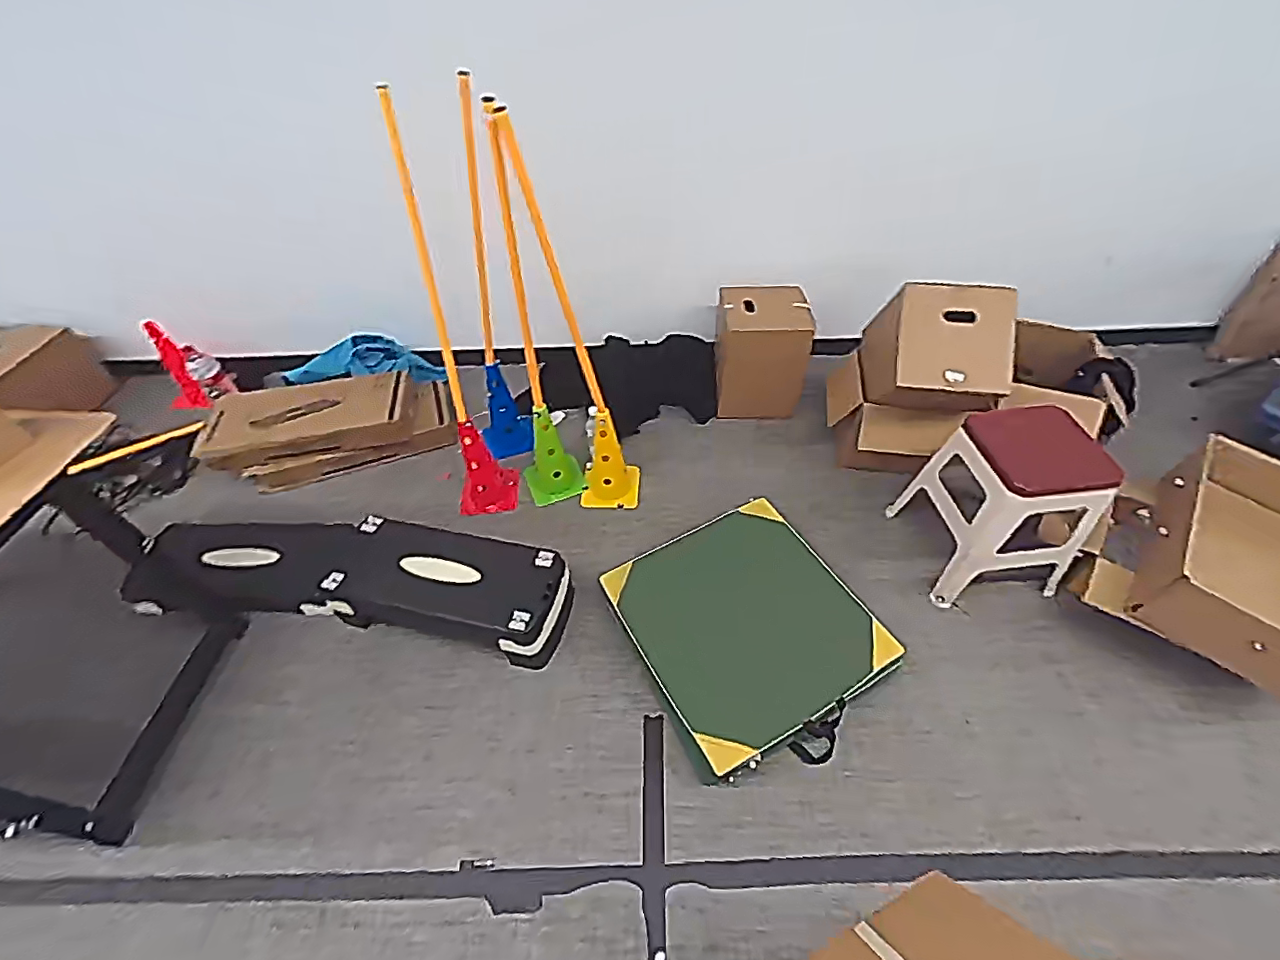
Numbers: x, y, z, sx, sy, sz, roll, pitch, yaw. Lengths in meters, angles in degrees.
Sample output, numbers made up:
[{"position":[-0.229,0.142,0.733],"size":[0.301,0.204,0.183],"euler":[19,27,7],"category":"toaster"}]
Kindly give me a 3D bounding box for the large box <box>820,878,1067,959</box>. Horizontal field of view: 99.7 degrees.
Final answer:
[{"position":[0.434,0.769,0.605],"size":[0.320,0.408,0.320],"euler":[-24,81,-14],"category":"large box"}]
